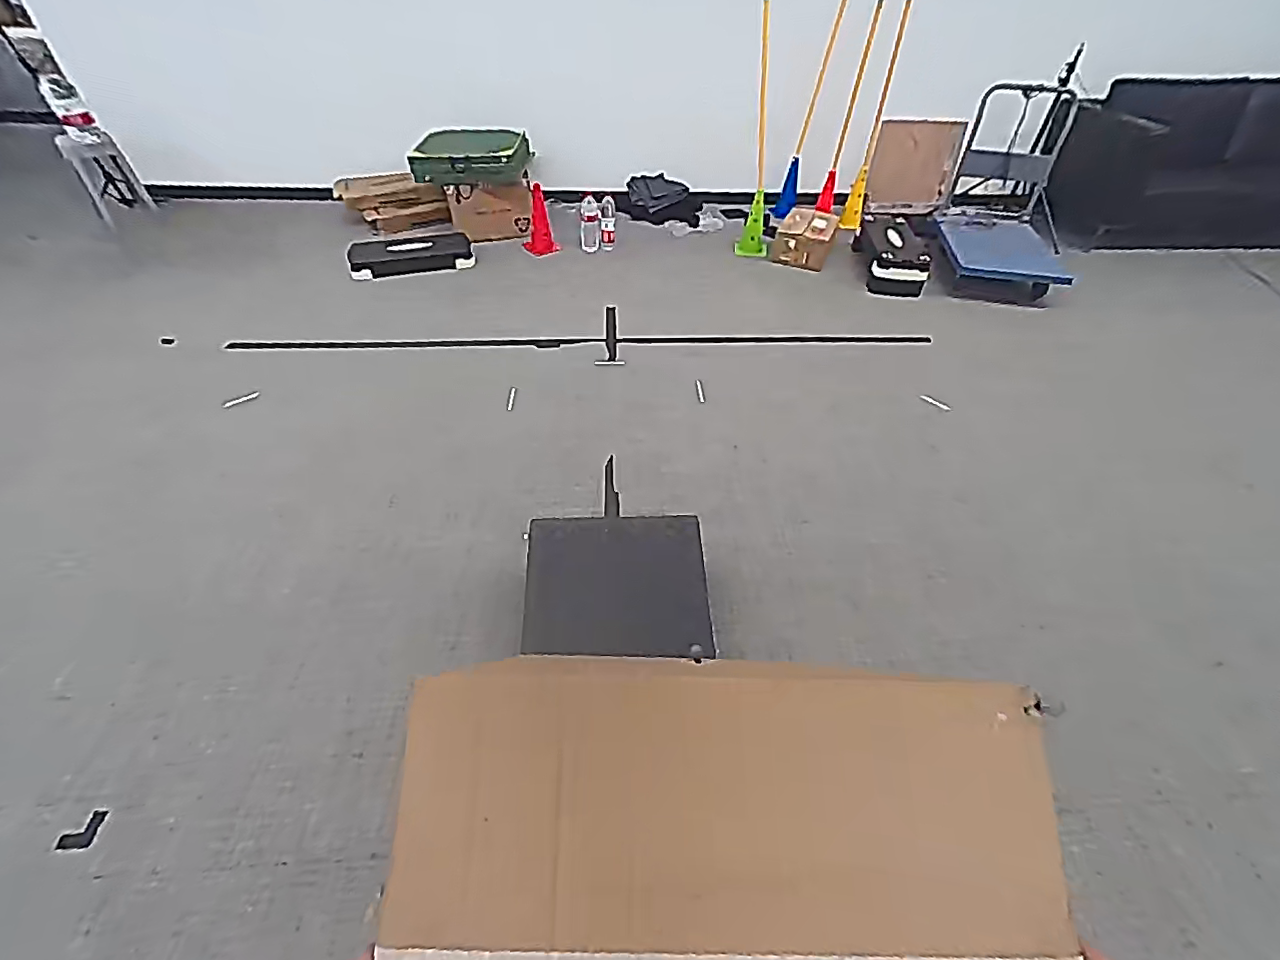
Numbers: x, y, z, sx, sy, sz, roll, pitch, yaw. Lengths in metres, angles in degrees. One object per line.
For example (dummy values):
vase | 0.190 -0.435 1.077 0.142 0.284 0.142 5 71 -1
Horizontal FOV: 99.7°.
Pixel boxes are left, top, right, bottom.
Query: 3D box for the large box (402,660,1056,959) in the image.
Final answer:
large box | 0.051 0.325 0.470 0.408 0.320 0.320 0 75 -1
